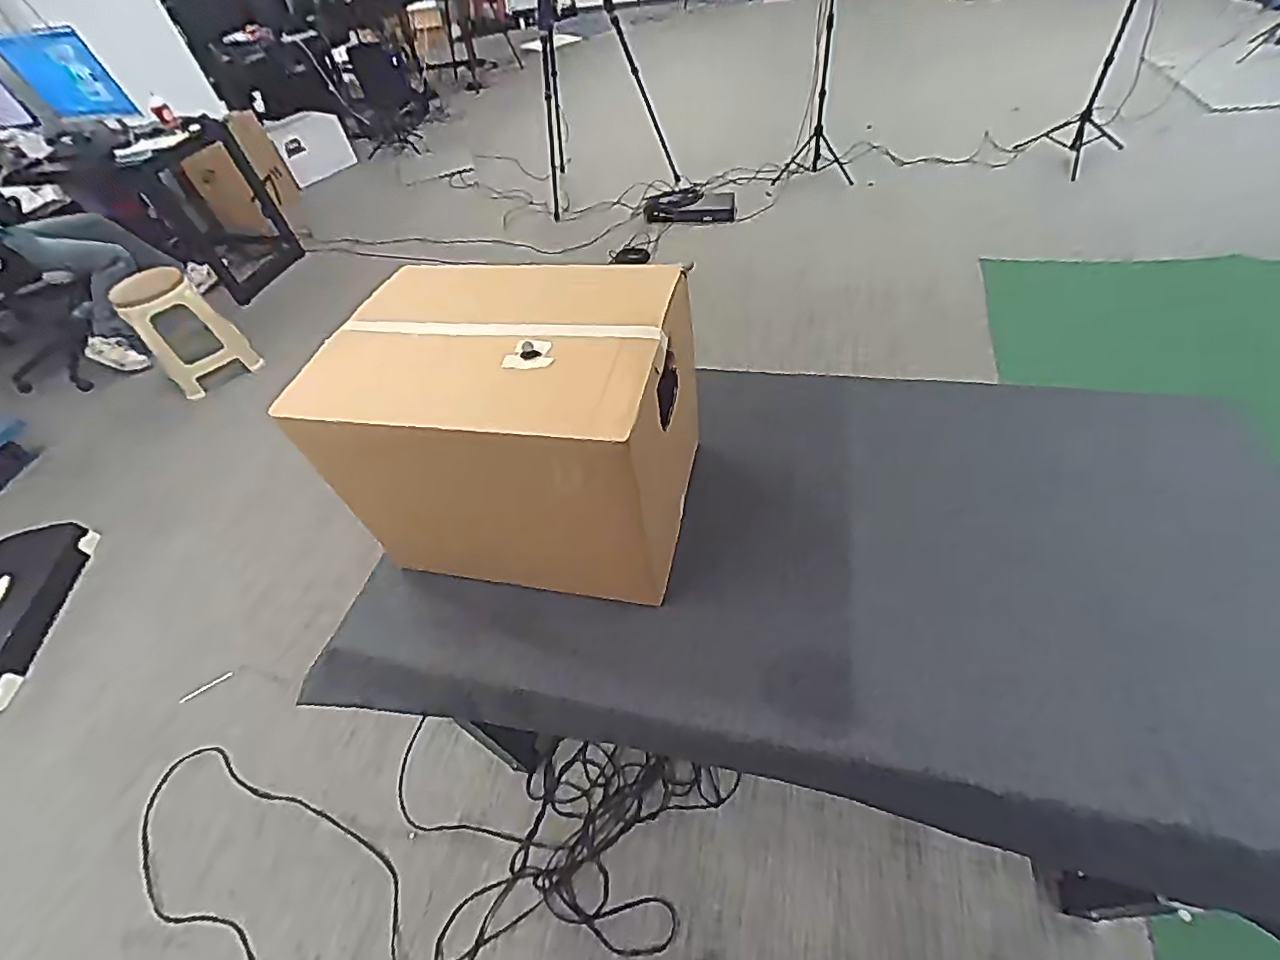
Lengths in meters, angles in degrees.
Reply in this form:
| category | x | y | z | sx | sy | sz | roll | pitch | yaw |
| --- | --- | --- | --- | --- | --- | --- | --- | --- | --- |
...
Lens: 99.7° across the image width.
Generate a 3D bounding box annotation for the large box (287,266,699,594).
| category | x | y | z | sx | sy | sz | roll | pitch | yaw |
| --- | --- | --- | --- | --- | --- | --- | --- | --- | --- |
| large box | -0.140 | -0.072 | 0.737 | 0.408 | 0.320 | 0.320 | 6 | 51 | 13 |
